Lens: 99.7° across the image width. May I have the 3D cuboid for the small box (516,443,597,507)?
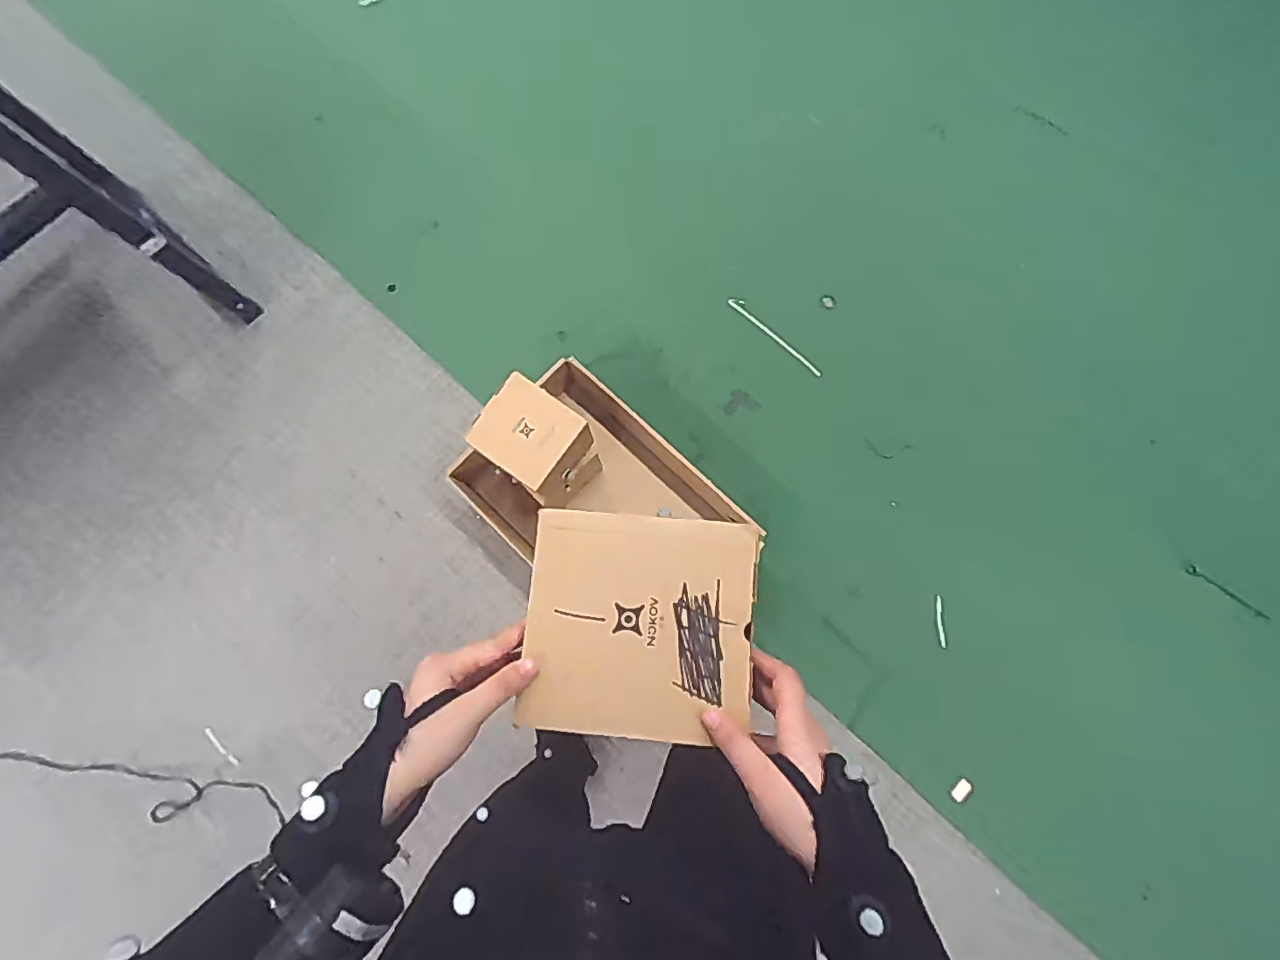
[{"bbox_3d":[-0.217,-0.056,1.239,0.168,0.176,0.179,-44,82,-7],"label":"small box"}]

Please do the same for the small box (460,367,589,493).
[{"bbox_3d":[-0.220,-0.088,1.078,0.179,0.176,0.168,35,83,4],"label":"small box"}]

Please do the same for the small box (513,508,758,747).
[{"bbox_3d":[0.001,0.125,0.488,0.179,0.176,0.168,4,77,3],"label":"small box"}]
